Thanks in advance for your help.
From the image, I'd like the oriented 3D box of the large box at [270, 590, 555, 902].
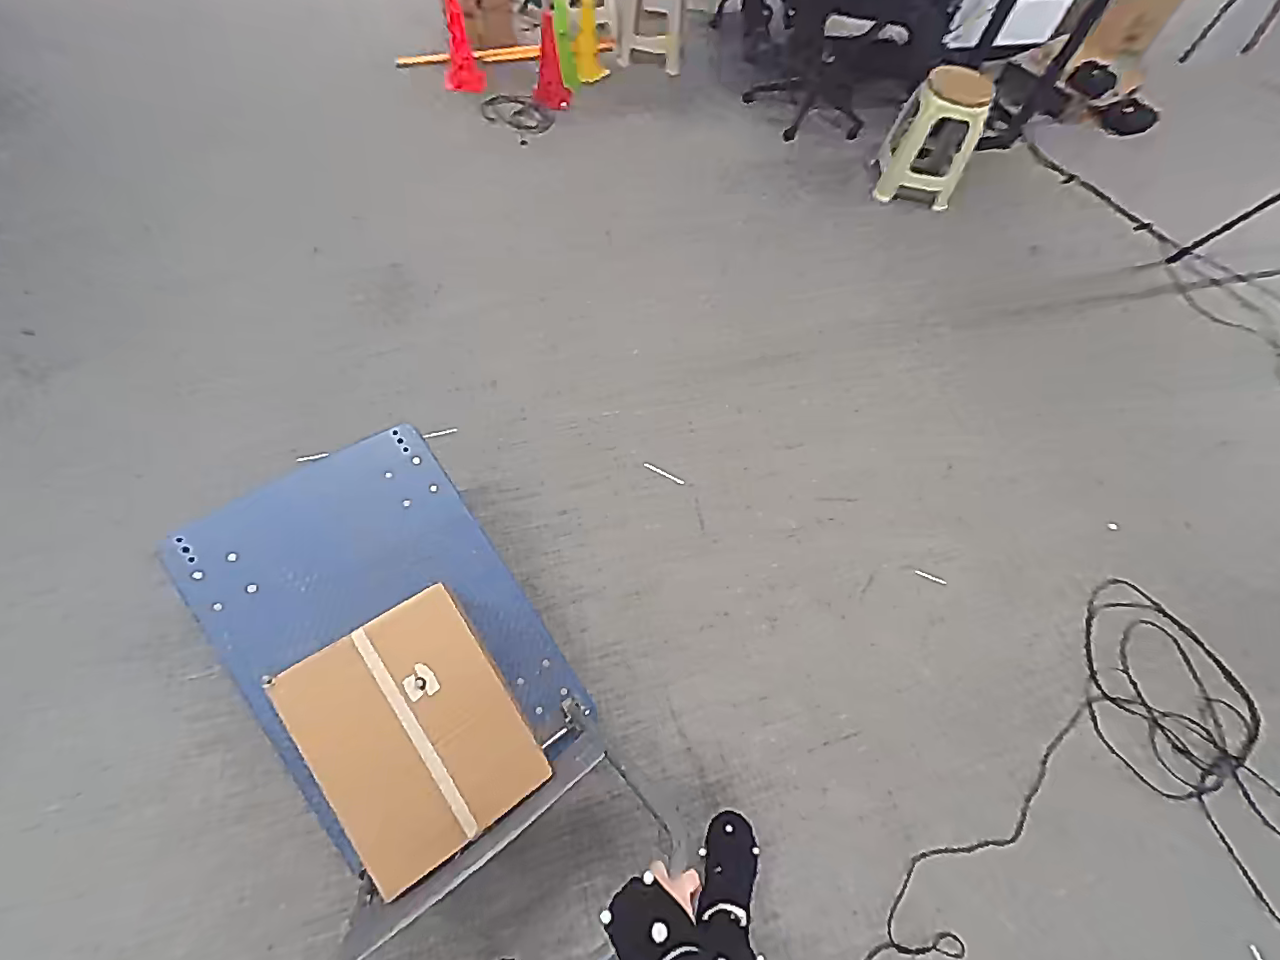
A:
[{"bbox_3d":[-0.413,0.473,1.060,0.320,0.320,0.408,-31,86,-21],"label":"large box"}]
